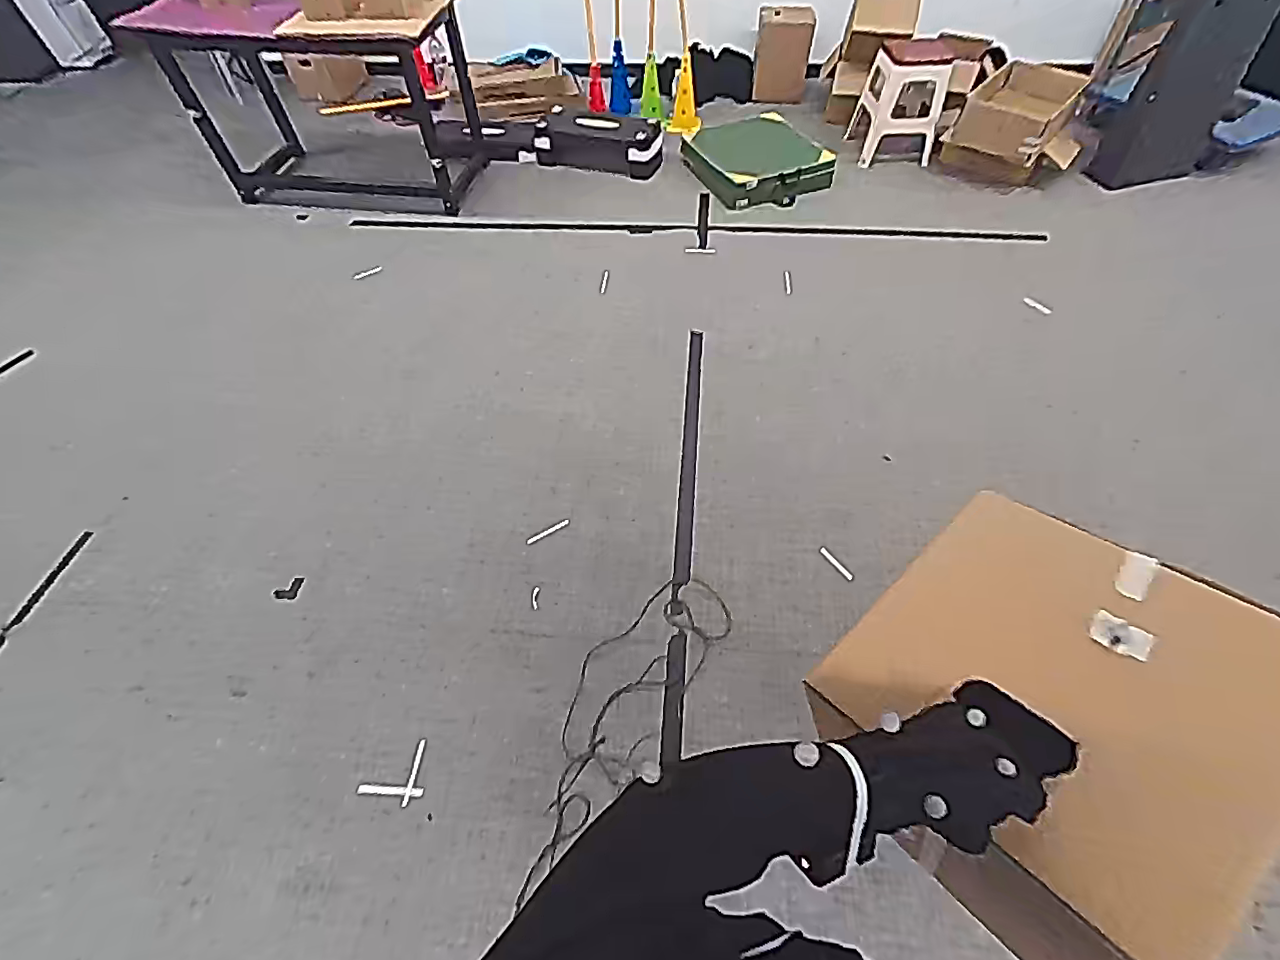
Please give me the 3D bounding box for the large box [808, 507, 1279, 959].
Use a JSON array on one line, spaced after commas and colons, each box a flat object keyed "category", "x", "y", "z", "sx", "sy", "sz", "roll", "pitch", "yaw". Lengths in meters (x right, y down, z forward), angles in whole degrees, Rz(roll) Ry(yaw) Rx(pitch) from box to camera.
[{"category": "large box", "x": 0.442, "y": 0.306, "z": 0.629, "sx": 0.320, "sy": 0.408, "sz": 0.320, "roll": -42, "pitch": 46, "yaw": -13}]
